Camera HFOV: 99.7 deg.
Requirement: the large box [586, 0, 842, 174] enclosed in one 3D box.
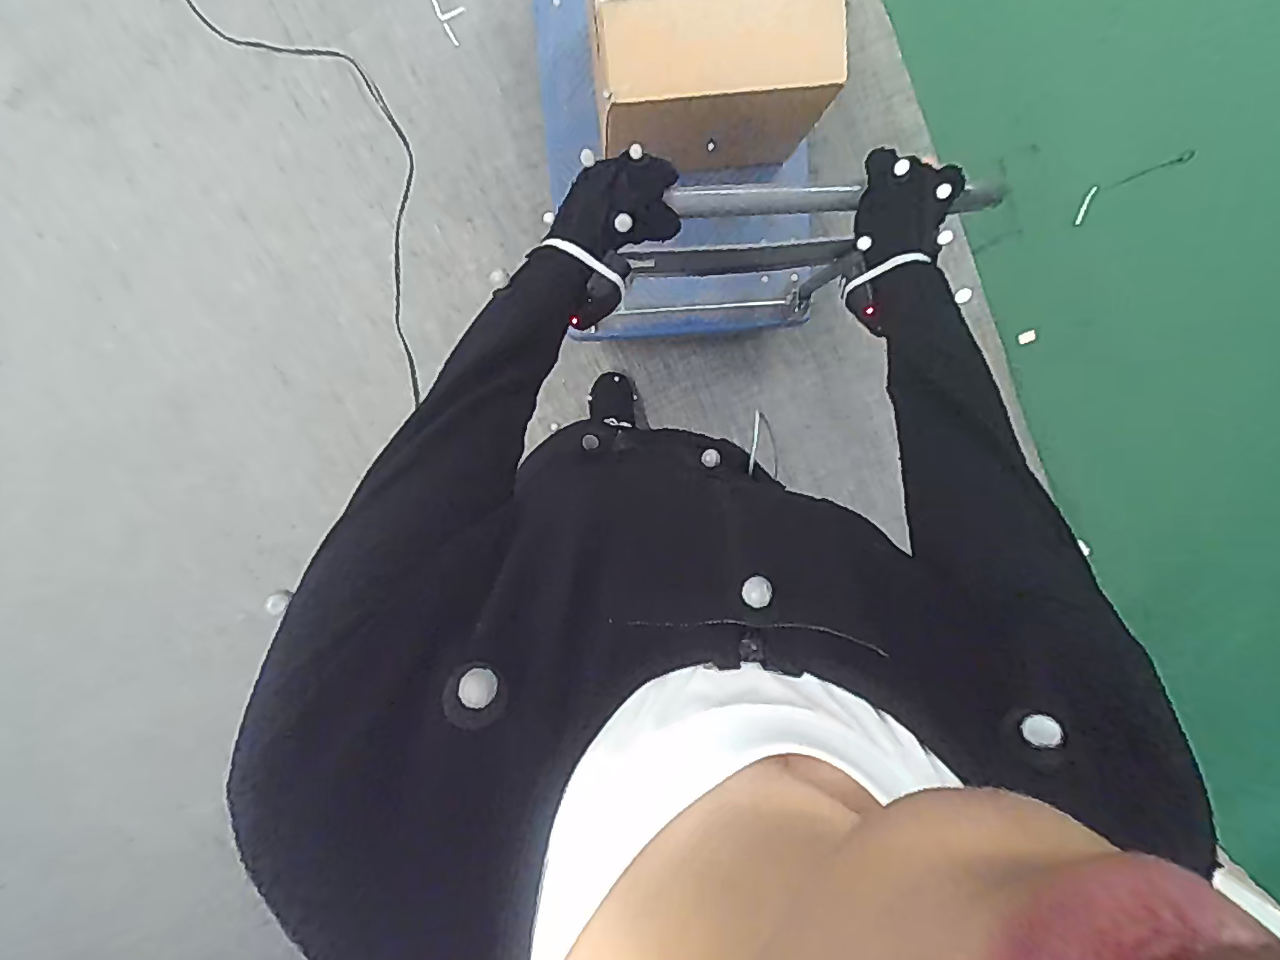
[{"bbox_3d":[0.116,-0.819,1.022,0.408,0.320,0.320,-8,99,-3],"label":"large box"}]
